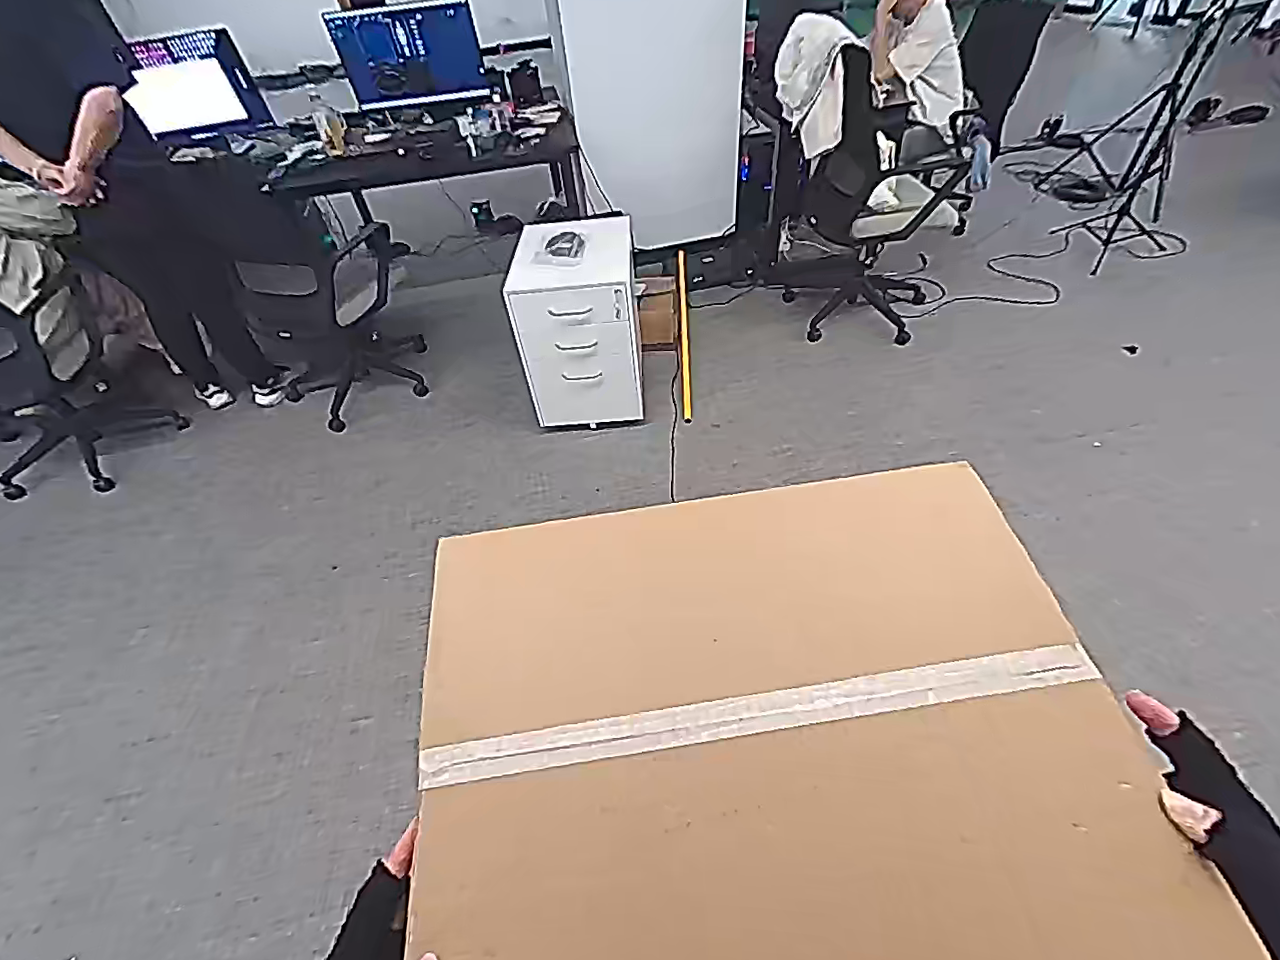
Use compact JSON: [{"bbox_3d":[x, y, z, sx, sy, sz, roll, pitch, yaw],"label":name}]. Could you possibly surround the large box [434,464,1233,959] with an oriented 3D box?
[{"bbox_3d":[0.082,0.227,0.462,0.408,0.320,0.320,-9,56,-1],"label":"large box"}]
